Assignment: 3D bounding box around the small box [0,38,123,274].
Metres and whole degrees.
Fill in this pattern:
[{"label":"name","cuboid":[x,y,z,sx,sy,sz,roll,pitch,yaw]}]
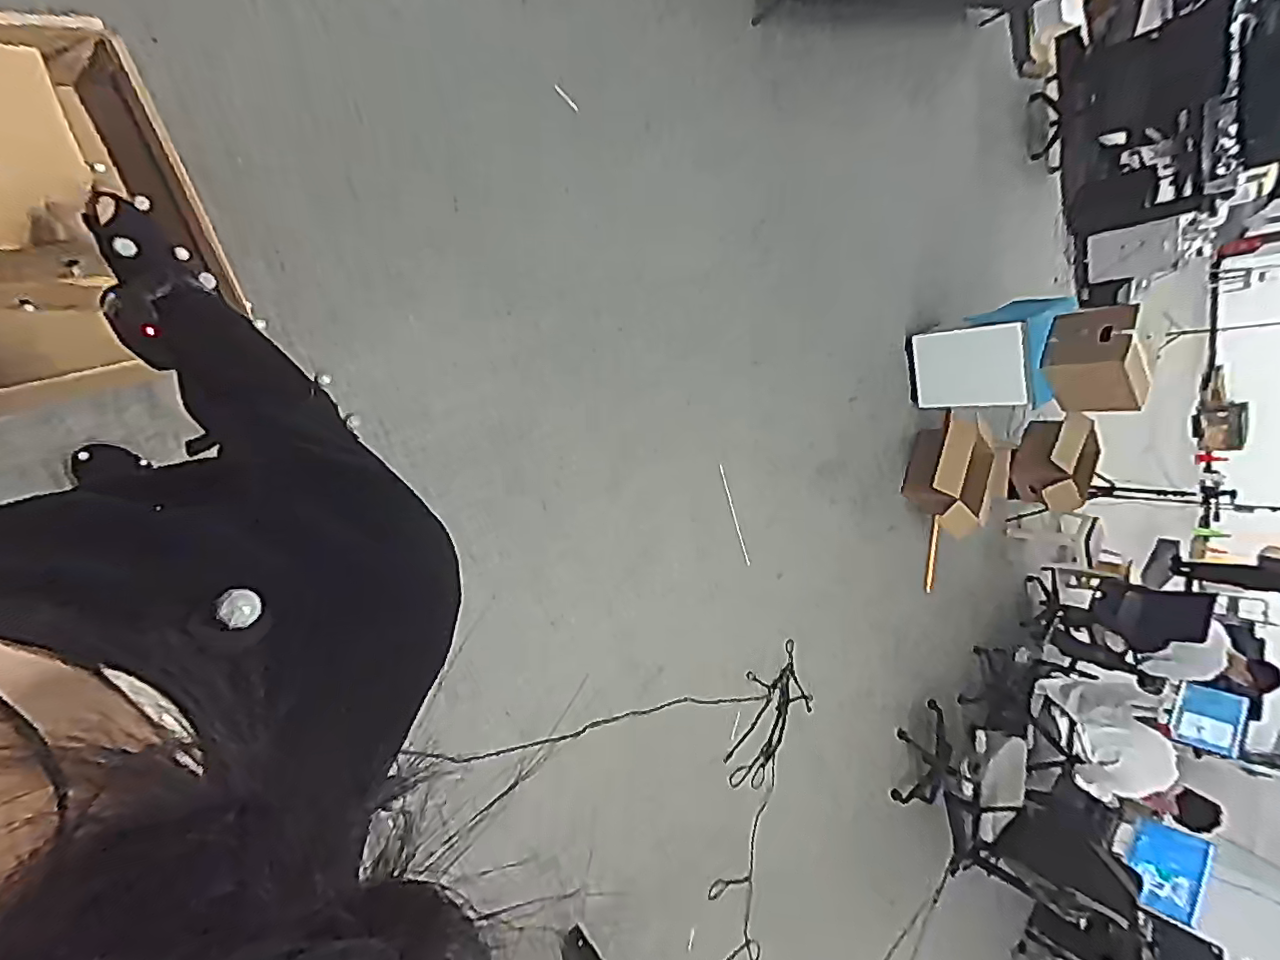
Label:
[{"label":"small box","cuboid":[-0.661,-0.309,0.540,0.168,0.176,0.179,-22,108,-36]}]
